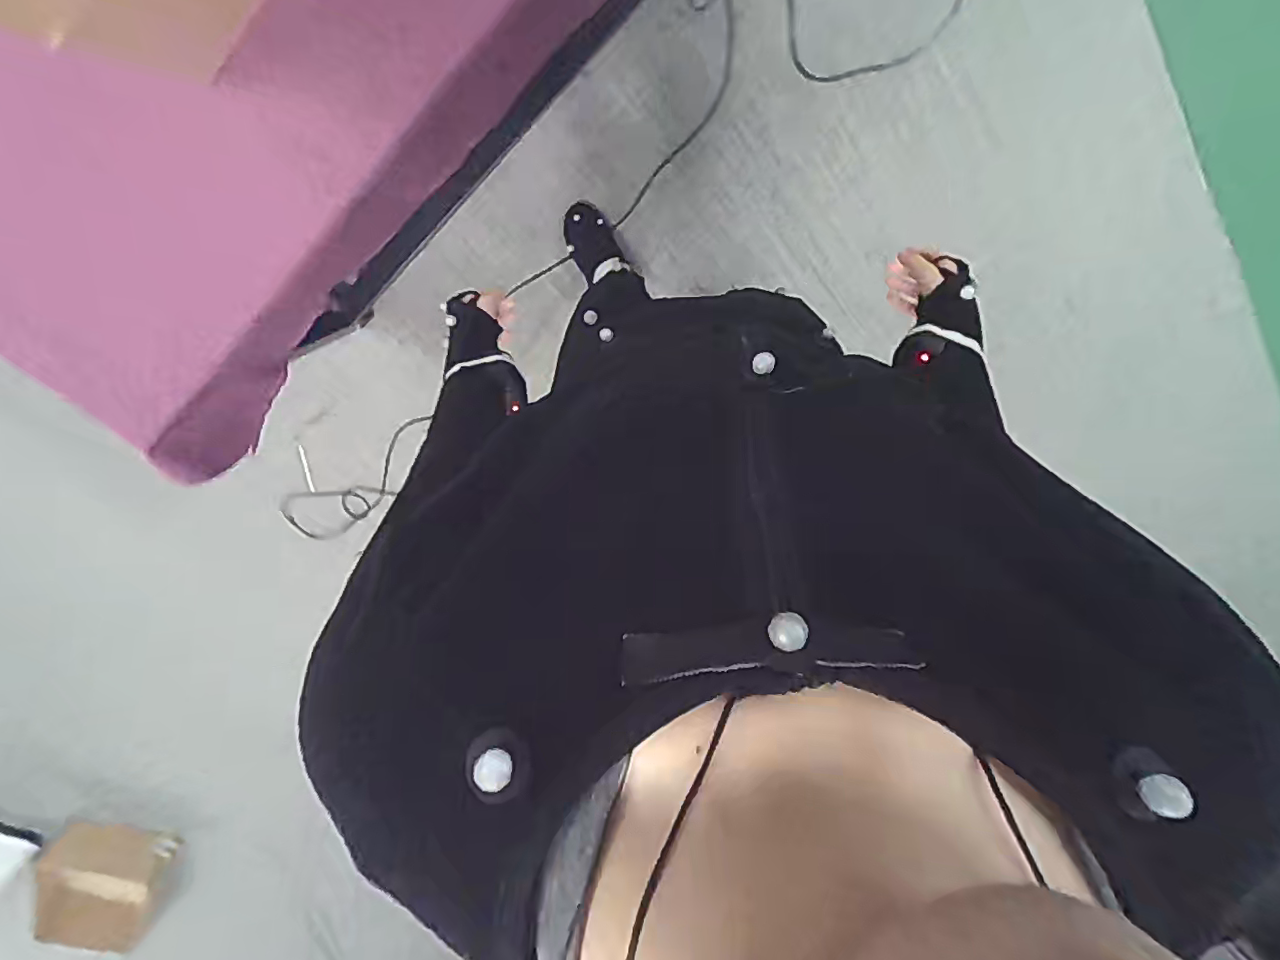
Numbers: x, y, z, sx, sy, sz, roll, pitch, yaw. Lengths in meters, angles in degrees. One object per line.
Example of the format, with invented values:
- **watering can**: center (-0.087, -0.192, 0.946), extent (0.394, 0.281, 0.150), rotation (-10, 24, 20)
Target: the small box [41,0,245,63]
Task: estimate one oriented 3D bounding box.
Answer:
- **small box**: center (-0.434, -0.487, 0.427), extent (0.179, 0.176, 0.168), rotation (-39, 112, 16)
